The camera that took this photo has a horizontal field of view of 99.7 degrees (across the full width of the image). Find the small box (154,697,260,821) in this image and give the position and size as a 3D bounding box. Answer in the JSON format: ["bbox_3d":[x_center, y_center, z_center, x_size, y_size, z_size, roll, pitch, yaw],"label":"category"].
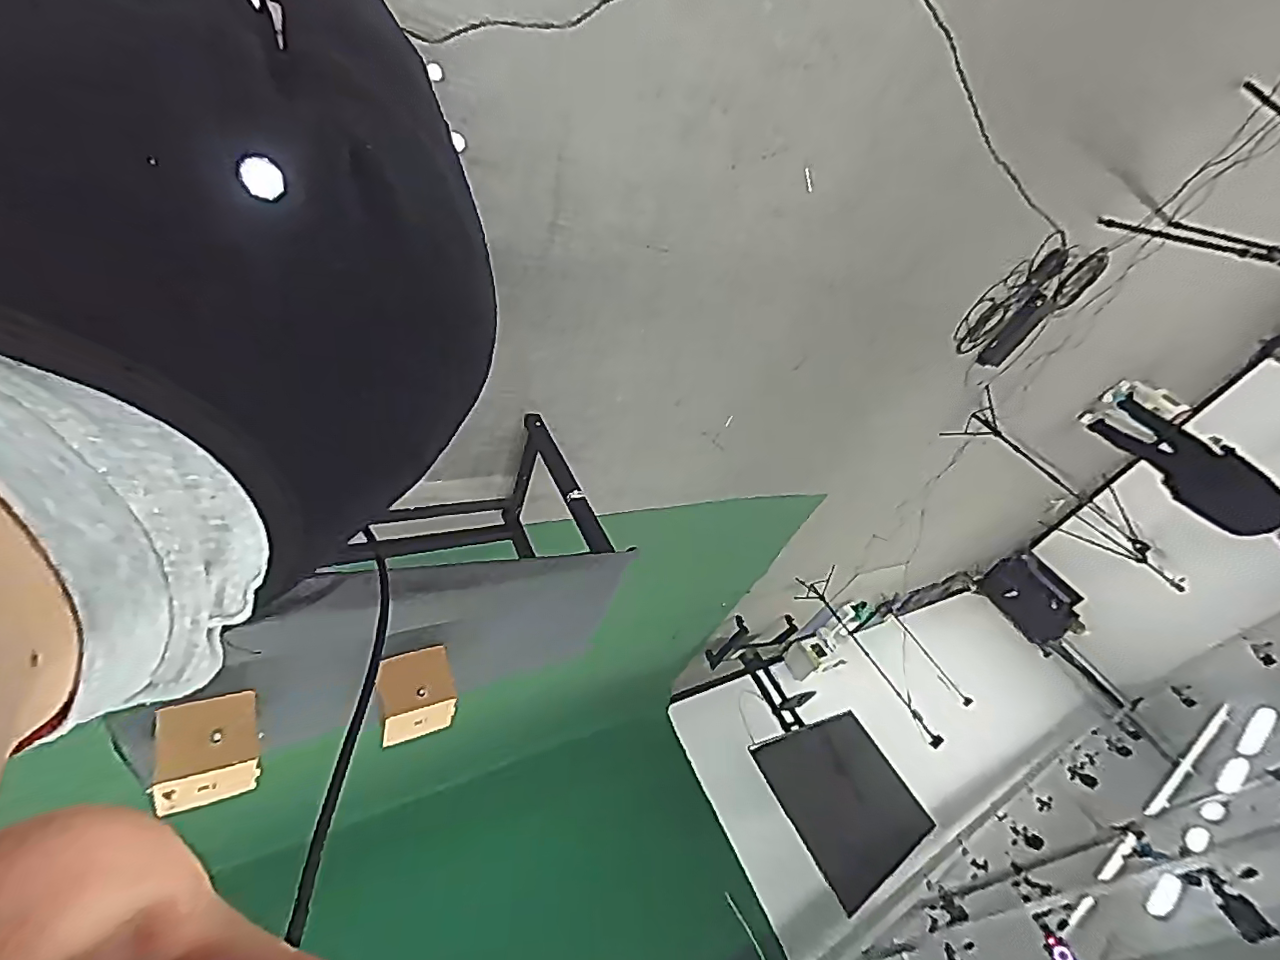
[{"bbox_3d":[-0.971,0.616,1.214,0.179,0.176,0.168,-1,134,-39],"label":"small box"}]

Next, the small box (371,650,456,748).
[{"bbox_3d":[-0.618,0.587,1.467,0.179,0.176,0.168,-5,135,-33],"label":"small box"}]
